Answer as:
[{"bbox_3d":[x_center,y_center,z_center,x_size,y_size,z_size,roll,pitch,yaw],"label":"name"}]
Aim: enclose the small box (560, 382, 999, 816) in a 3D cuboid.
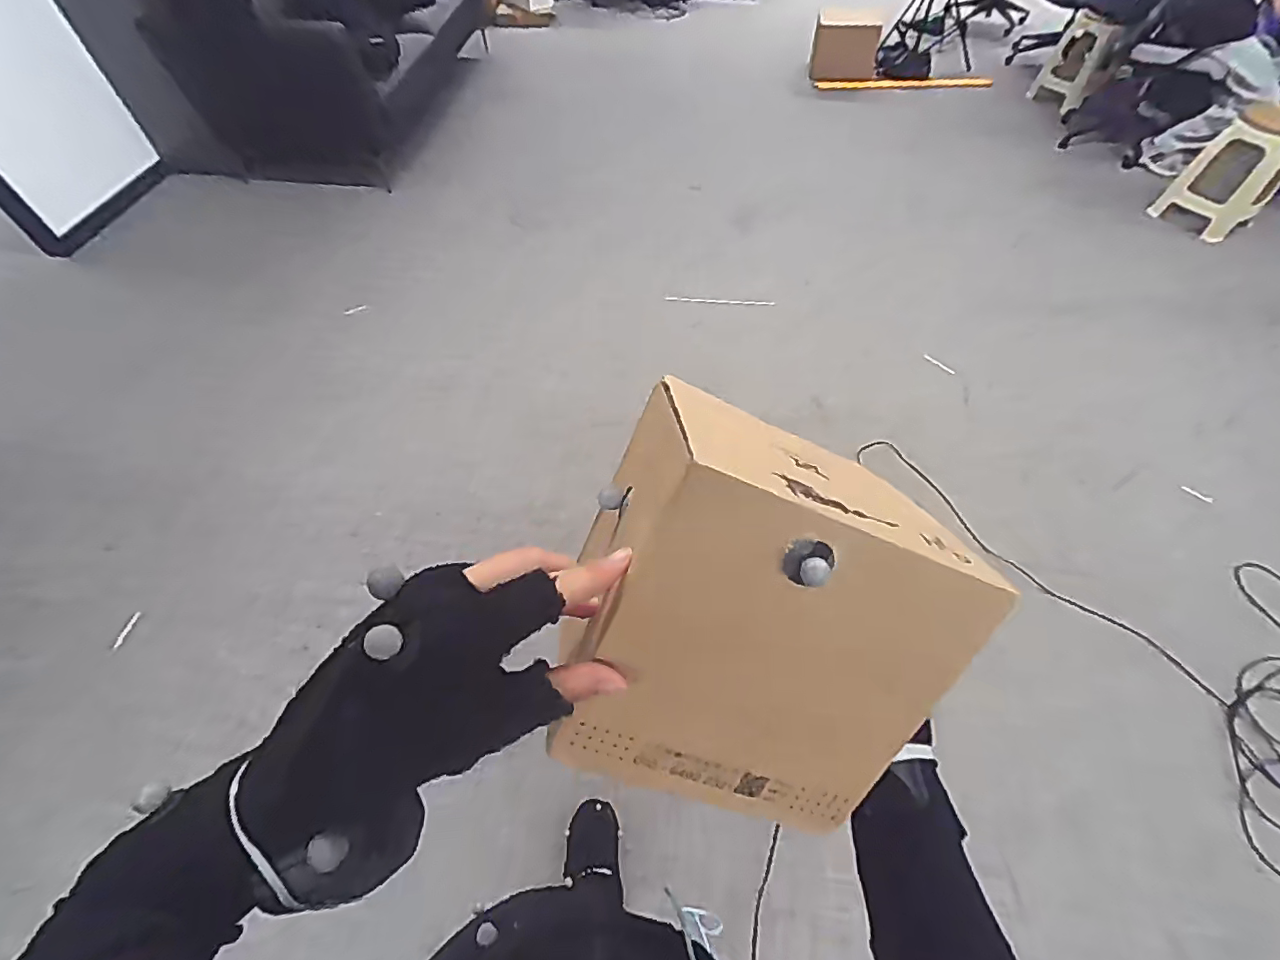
[{"bbox_3d":[0.059,0.061,0.342,0.168,0.176,0.179,22,19,-10],"label":"small box"}]
